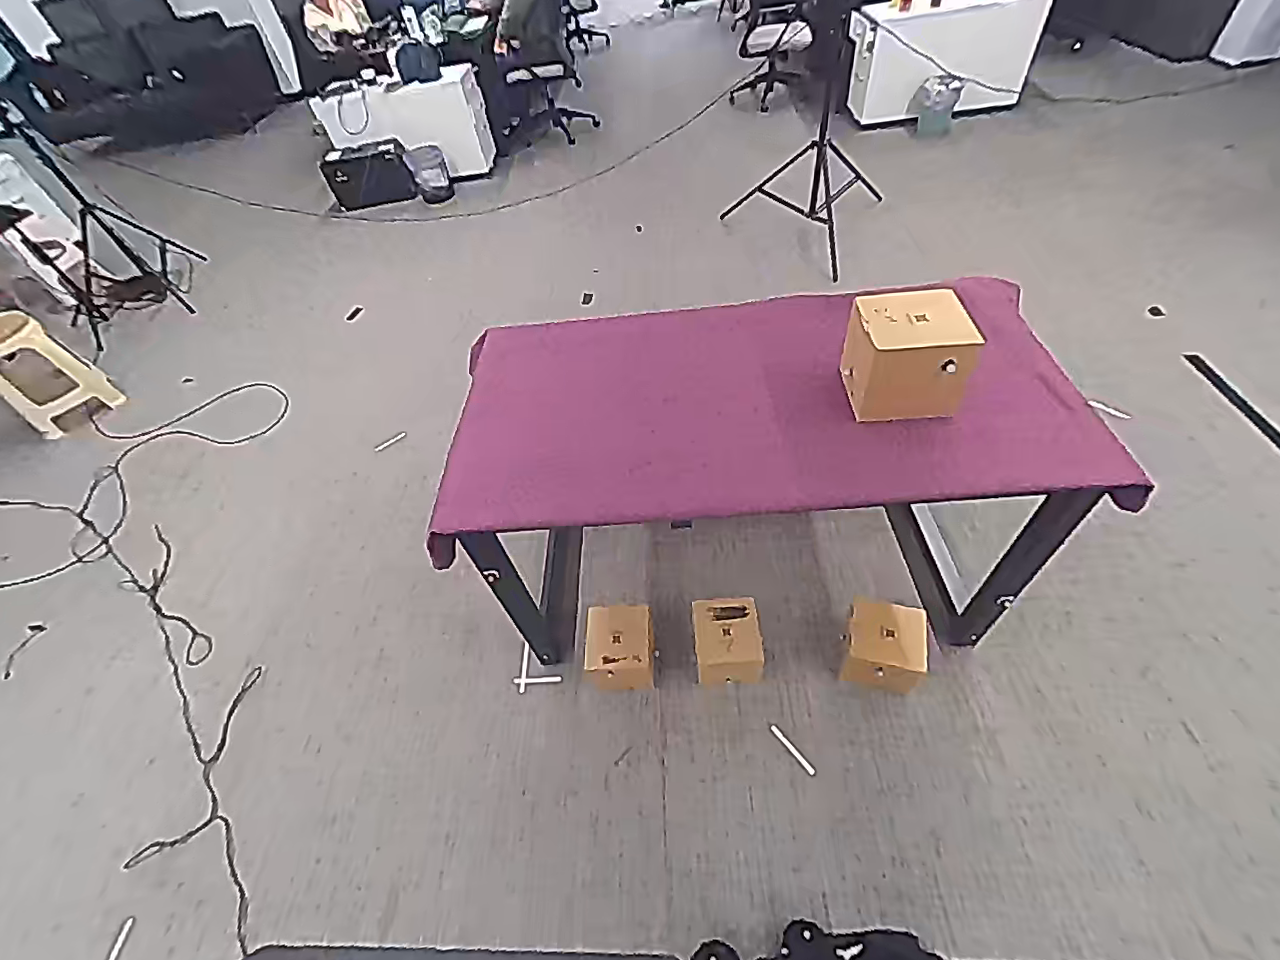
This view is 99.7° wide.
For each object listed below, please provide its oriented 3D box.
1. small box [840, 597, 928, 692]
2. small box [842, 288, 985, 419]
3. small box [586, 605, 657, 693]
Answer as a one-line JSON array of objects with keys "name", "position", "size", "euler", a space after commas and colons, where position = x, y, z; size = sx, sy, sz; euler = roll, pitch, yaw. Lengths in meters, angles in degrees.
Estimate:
[{"name": "small box", "position": [0.624, 0.426, 1.390], "size": [0.179, 0.176, 0.168], "euler": [8, 53, 17]}, {"name": "small box", "position": [0.490, -0.229, 0.999], "size": [0.179, 0.176, 0.168], "euler": [-3, 49, 7]}, {"name": "small box", "position": [-0.045, 0.459, 1.466], "size": [0.168, 0.176, 0.179], "euler": [-3, 49, 6]}]
